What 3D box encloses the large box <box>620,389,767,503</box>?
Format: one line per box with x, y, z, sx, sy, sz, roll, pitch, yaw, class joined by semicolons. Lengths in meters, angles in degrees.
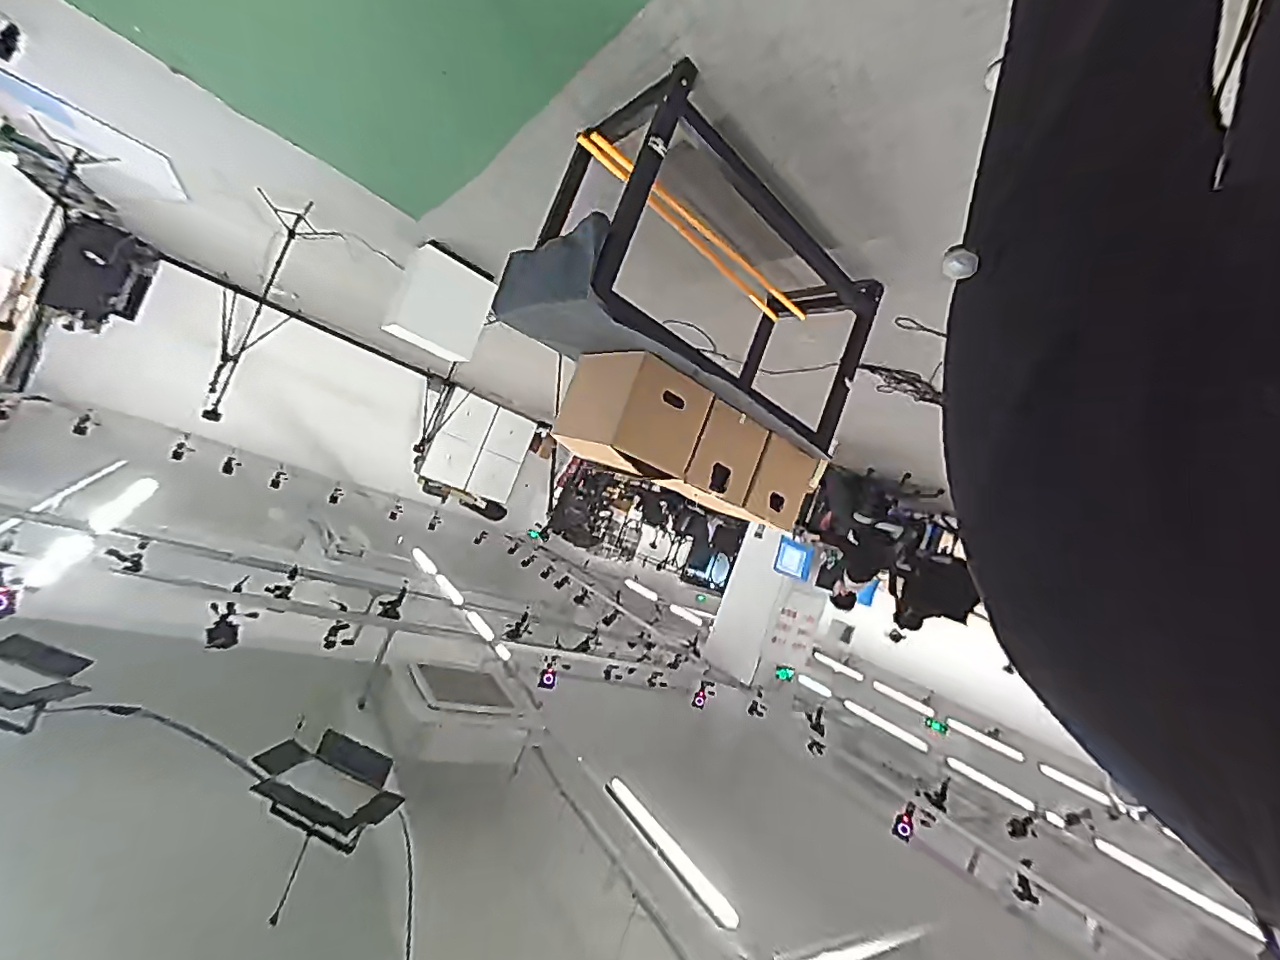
0.193;-0.136;2.024;0.320;0.320;0.408;23;174;-35;large box
